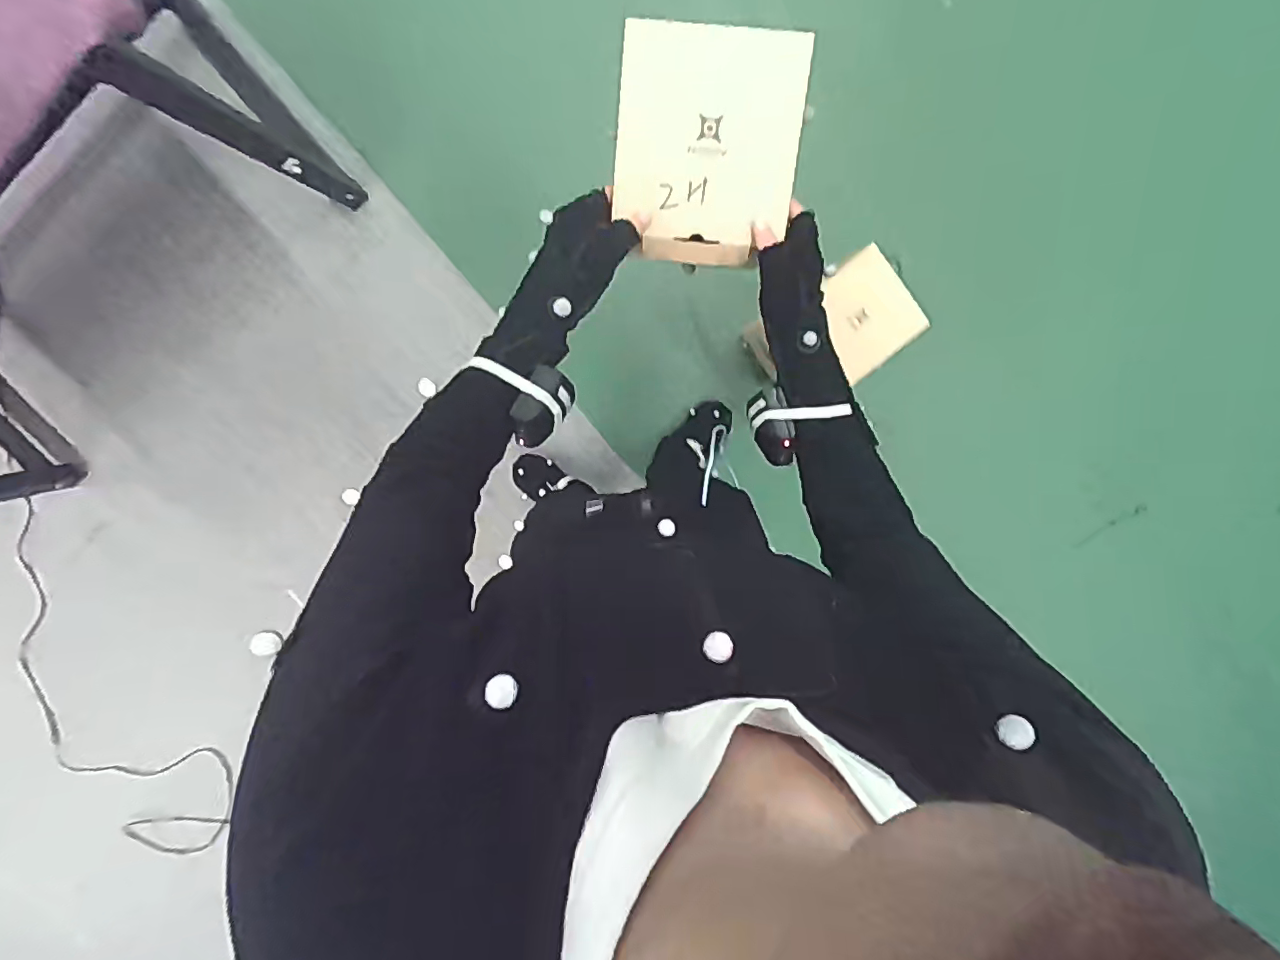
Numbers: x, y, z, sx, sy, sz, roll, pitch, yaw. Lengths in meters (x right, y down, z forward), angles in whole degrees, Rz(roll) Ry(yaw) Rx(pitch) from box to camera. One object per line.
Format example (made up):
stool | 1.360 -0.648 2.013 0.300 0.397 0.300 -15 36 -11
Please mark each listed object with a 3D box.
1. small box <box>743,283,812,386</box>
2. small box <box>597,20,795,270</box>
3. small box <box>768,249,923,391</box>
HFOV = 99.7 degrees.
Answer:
small box | 0.364 -0.342 1.306 0.179 0.176 0.168 -37 98 7
small box | 0.050 -0.330 0.569 0.168 0.176 0.179 5 105 2
small box | 0.361 -0.282 0.984 0.179 0.176 0.168 -39 98 8
